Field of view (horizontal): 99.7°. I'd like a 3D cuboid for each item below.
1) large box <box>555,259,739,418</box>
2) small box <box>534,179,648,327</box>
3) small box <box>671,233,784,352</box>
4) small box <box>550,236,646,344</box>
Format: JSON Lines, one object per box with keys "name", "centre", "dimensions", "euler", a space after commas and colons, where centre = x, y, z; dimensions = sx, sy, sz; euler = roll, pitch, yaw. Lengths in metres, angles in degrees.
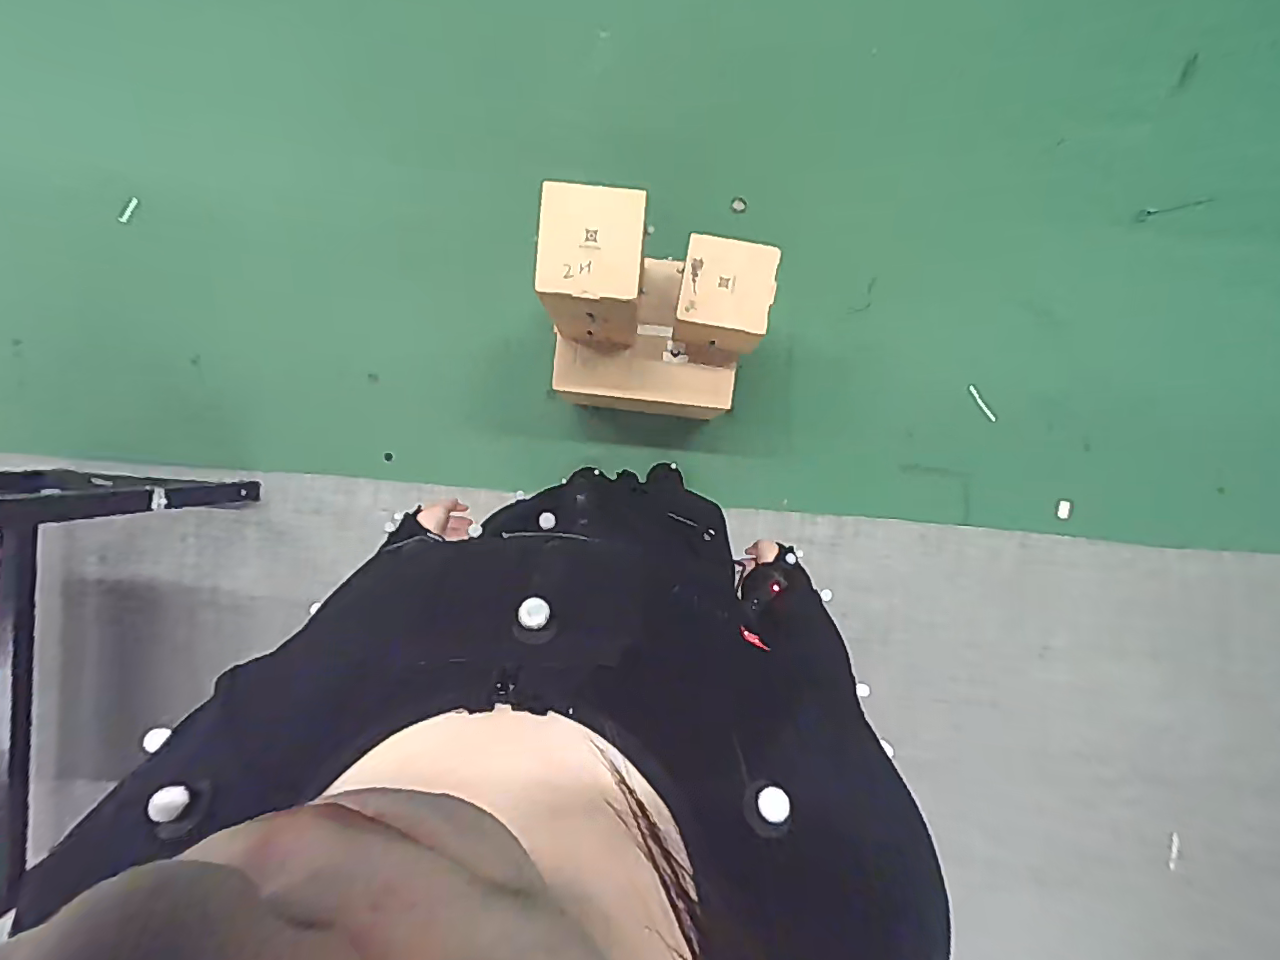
{"name": "large box", "centre": [0.019, -0.333, 1.331], "dimensions": [0.408, 0.320, 0.320], "euler": [6, 93, -1]}
{"name": "small box", "centre": [-0.079, -0.376, 0.922], "dimensions": [0.168, 0.176, 0.179], "euler": [5, 92, 0]}
{"name": "small box", "centre": [0.167, -0.364, 1.084], "dimensions": [0.179, 0.176, 0.168], "euler": [11, 91, 0]}
{"name": "small box", "centre": [-0.081, -0.386, 1.087], "dimensions": [0.168, 0.176, 0.179], "euler": [6, 92, -1]}
